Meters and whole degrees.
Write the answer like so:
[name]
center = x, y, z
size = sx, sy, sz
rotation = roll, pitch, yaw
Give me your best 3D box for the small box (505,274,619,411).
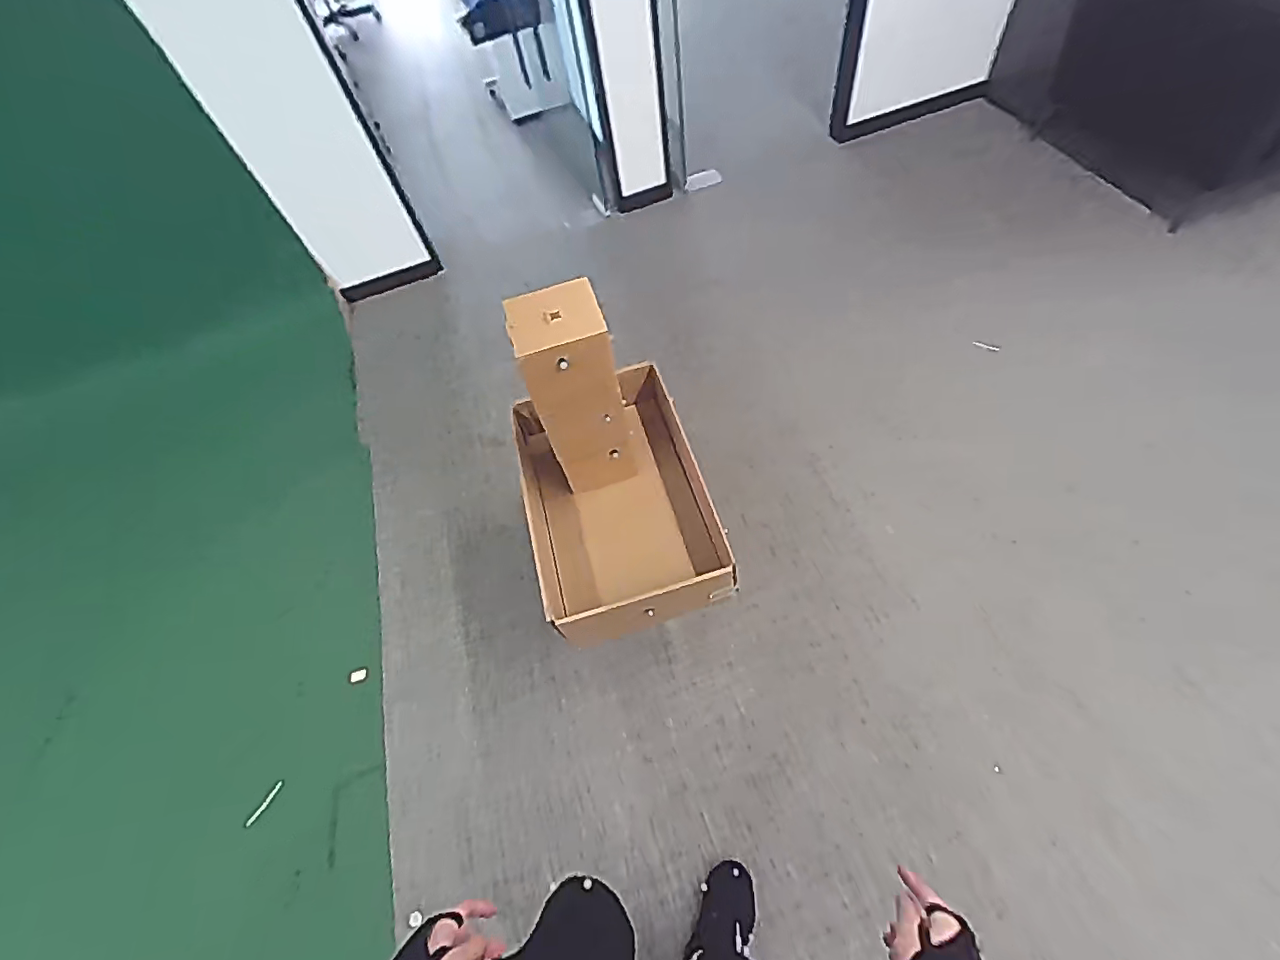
[small box]
center = -0.146, -0.265, 1.060
size = 0.179, 0.176, 0.168
rotation = -17, 58, -3
